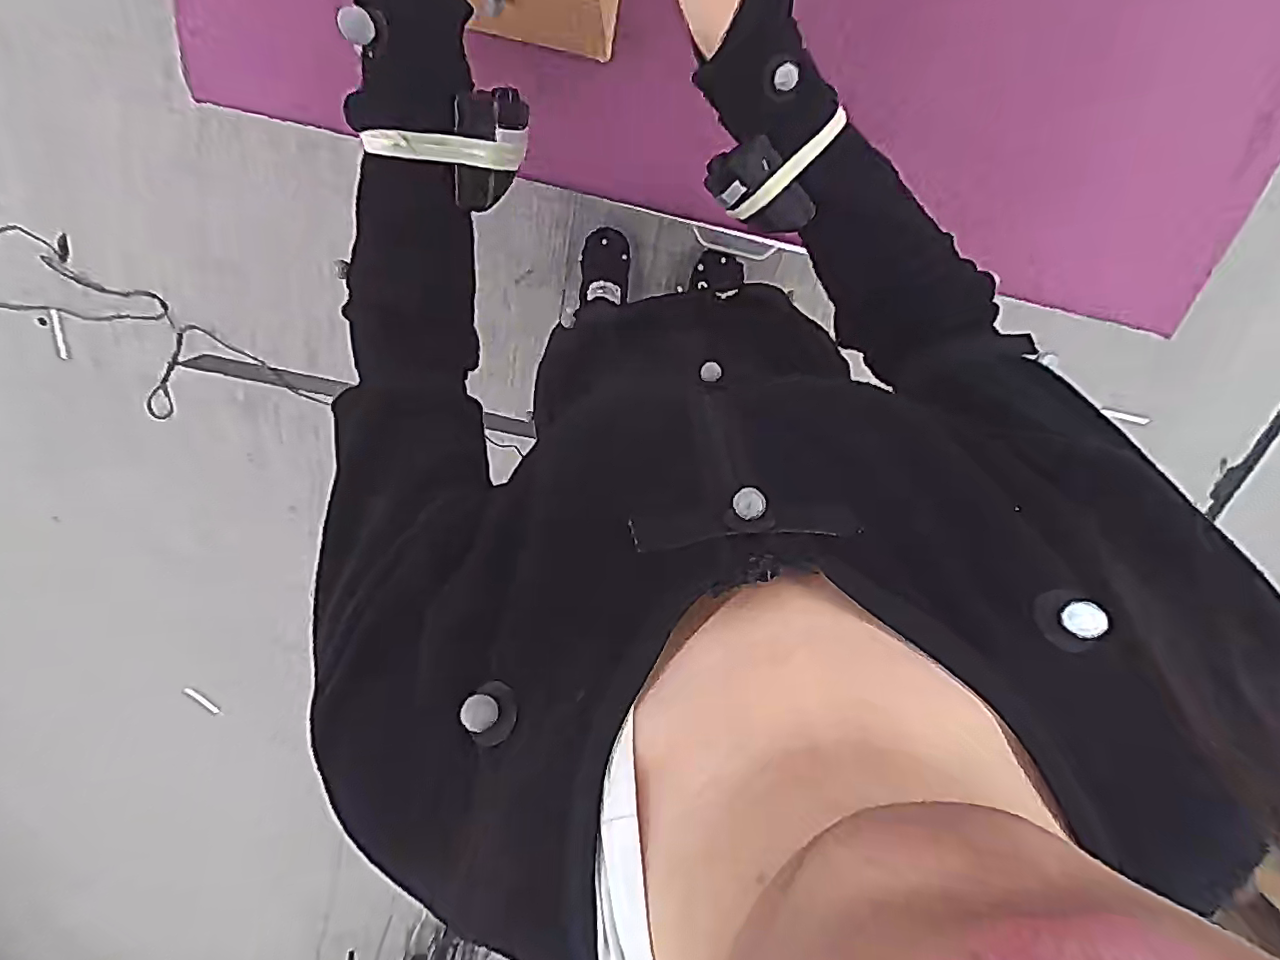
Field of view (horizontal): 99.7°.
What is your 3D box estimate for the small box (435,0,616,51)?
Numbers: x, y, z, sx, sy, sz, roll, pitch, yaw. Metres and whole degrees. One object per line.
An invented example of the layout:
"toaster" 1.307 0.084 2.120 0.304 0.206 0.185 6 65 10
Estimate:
"small box" -0.099 -0.501 0.461 0.179 0.176 0.168 10 114 -5
